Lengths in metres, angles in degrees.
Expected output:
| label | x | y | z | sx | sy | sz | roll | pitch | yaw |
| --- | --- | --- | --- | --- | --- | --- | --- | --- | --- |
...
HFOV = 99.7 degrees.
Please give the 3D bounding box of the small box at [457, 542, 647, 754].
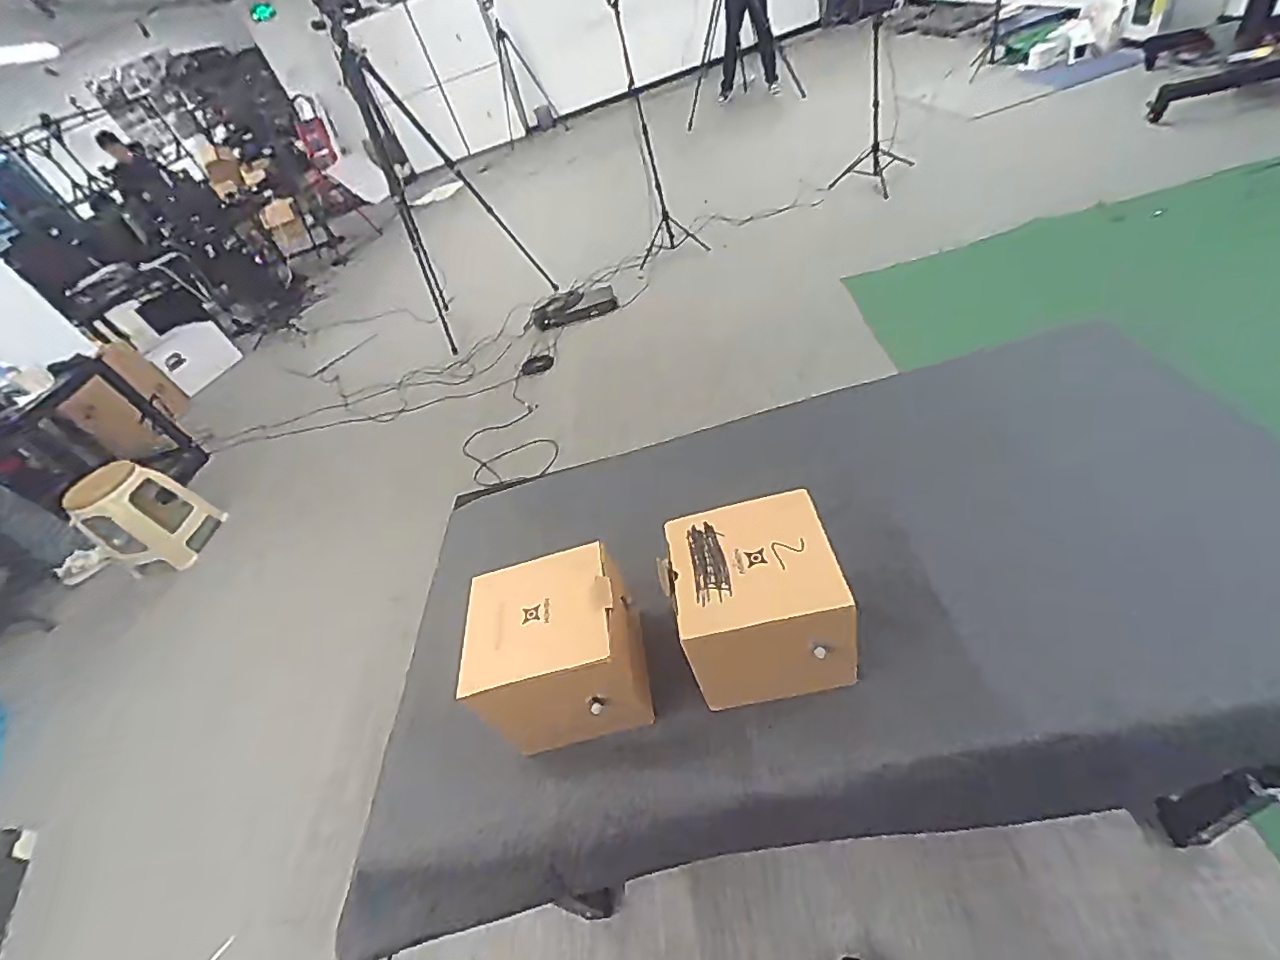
| label | x | y | z | sx | sy | sz | roll | pitch | yaw |
| --- | --- | --- | --- | --- | --- | --- | --- | --- | --- |
| small box | -0.097 | 0.210 | 0.668 | 0.179 | 0.176 | 0.168 | -18 | 40 | 5 |
